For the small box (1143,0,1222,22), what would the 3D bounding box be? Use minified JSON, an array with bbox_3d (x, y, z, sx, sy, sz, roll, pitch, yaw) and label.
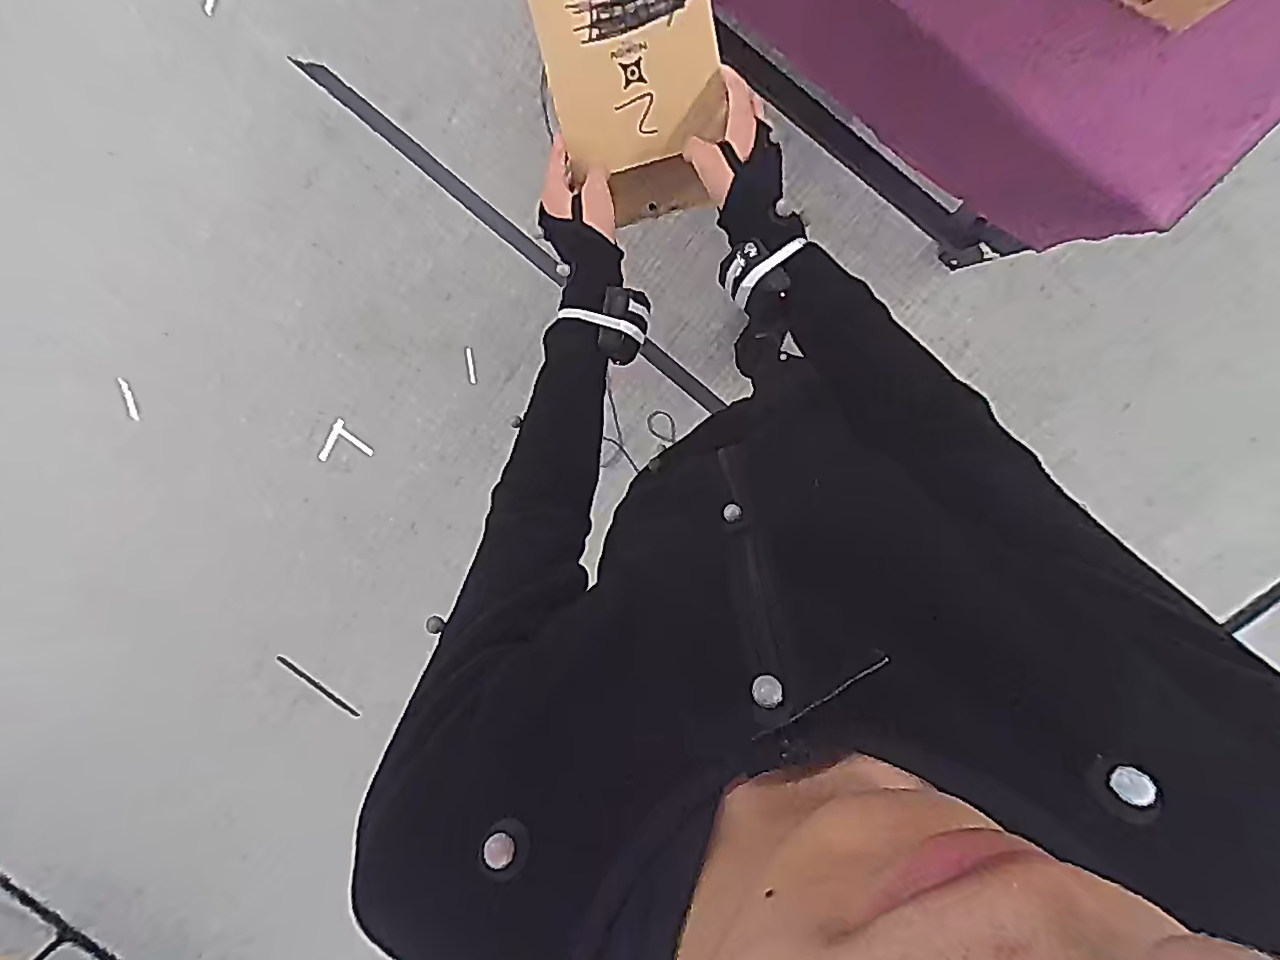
[{"bbox_3d":[0.593,-0.612,0.528,0.168,0.176,0.179,32,108,0],"label":"small box"}]
